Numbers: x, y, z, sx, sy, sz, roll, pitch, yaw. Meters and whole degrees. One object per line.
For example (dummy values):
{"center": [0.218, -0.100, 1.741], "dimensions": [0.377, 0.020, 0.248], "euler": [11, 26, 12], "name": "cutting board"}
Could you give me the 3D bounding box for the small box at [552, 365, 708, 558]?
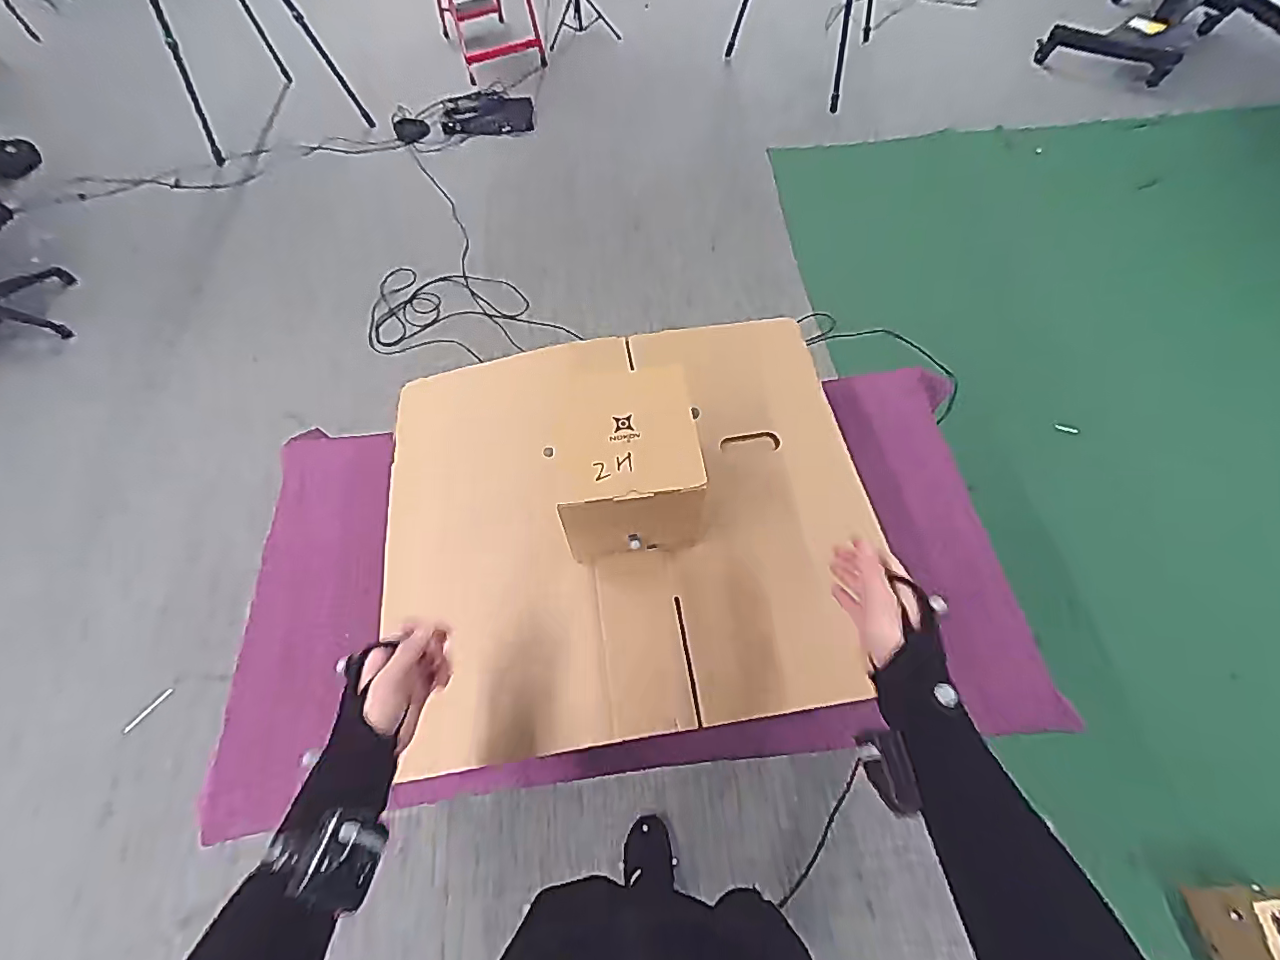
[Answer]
{"center": [-0.016, -0.018, 0.683], "dimensions": [0.168, 0.176, 0.179], "euler": [-7, 61, -3], "name": "small box"}
